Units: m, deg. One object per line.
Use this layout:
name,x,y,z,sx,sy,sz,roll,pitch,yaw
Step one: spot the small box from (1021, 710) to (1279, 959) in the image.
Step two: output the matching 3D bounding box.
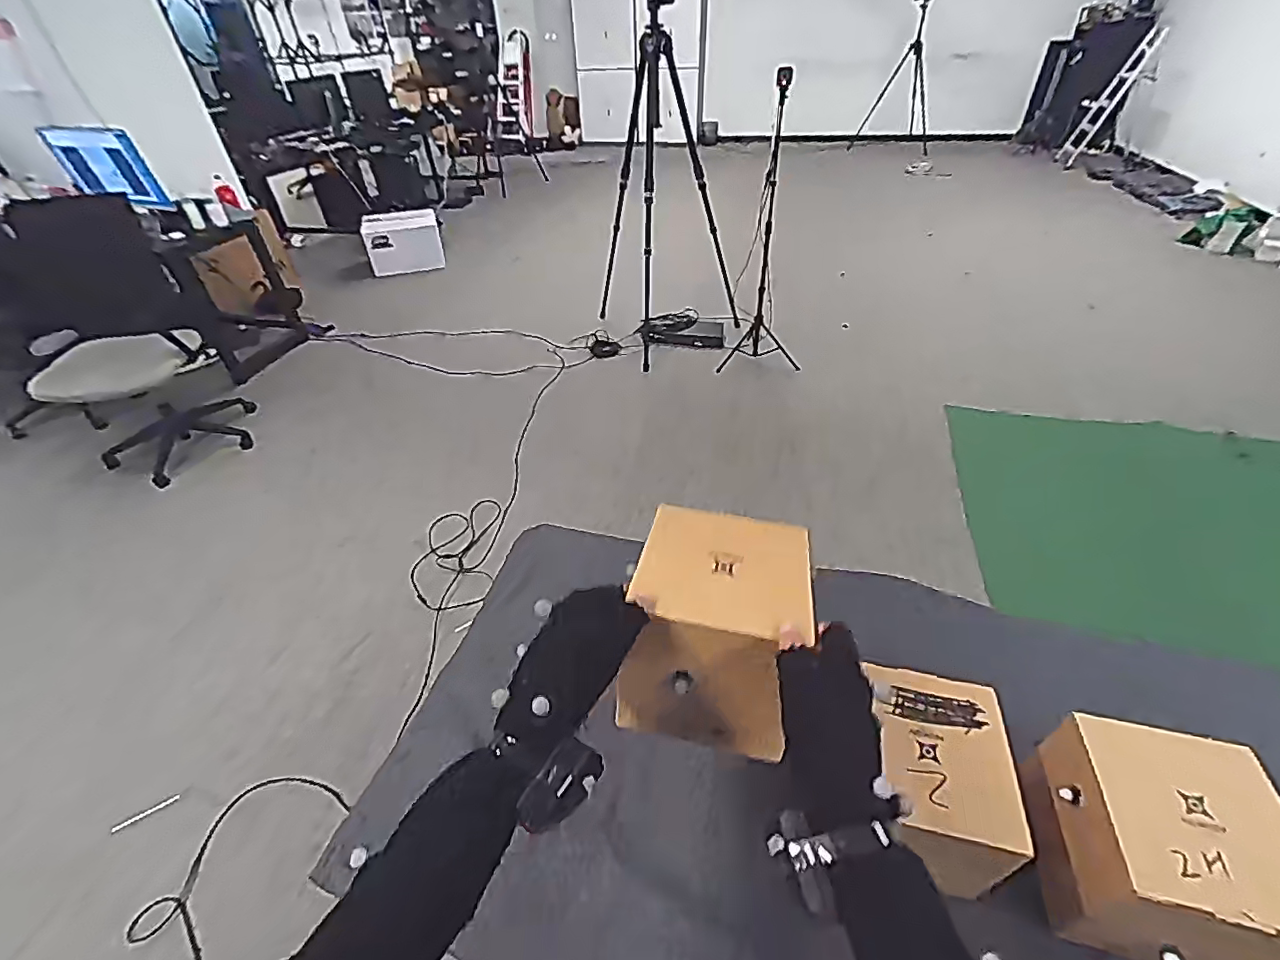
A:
small box,0.543,0.384,0.576,0.168,0.176,0.179,8,41,14
